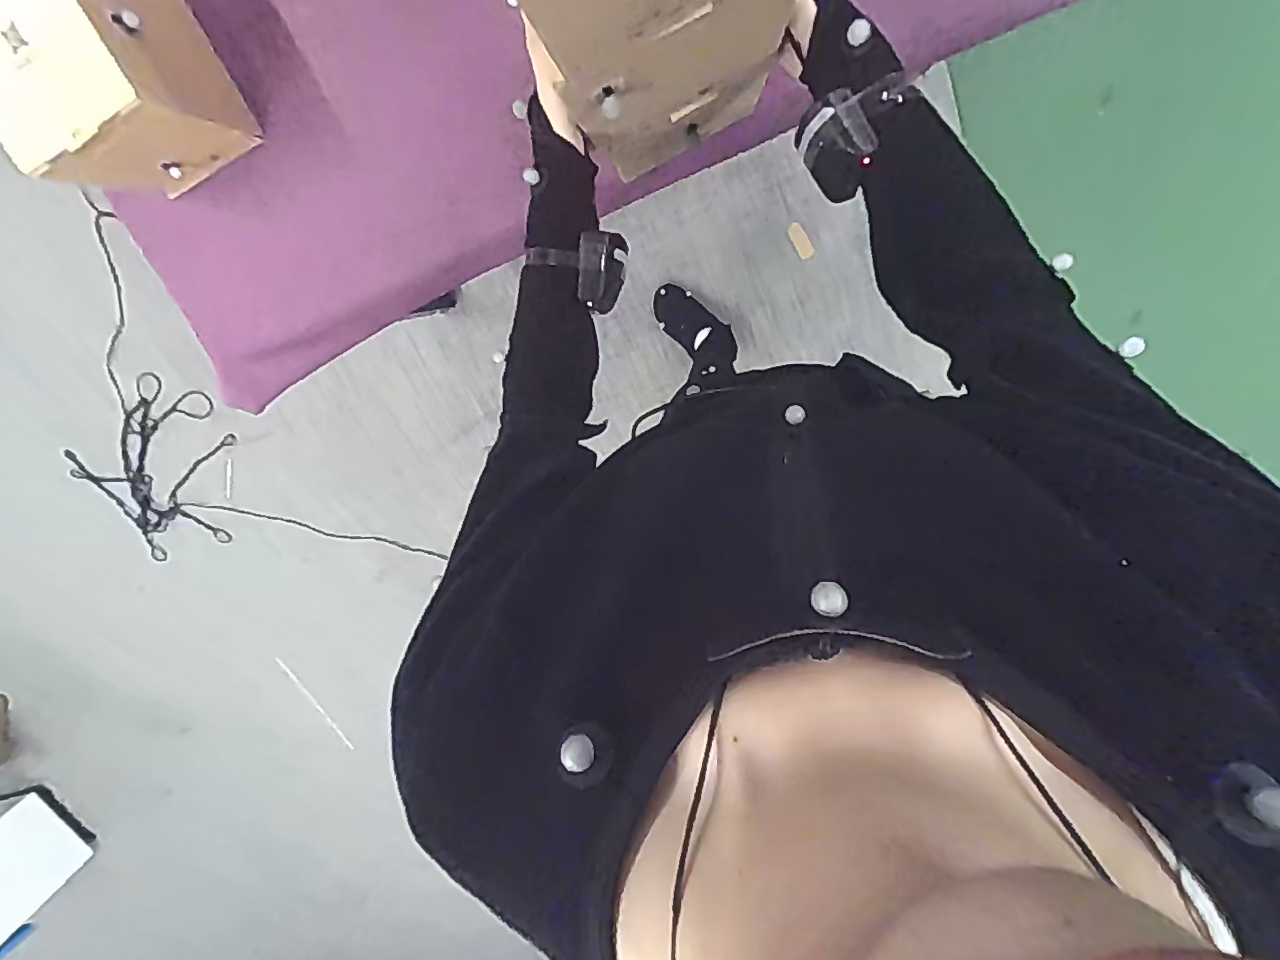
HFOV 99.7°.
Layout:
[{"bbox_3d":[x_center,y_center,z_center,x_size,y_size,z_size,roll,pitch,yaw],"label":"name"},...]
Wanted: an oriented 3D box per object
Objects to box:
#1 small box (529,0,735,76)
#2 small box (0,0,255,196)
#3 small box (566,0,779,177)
[{"bbox_3d":[-0.007,-0.315,0.211,0.168,0.176,0.179,-22,106,12],"label":"small box"},{"bbox_3d":[-0.582,-0.437,0.584,0.168,0.176,0.179,-21,108,12],"label":"small box"},{"bbox_3d":[0.016,-0.421,0.523,0.168,0.176,0.179,-24,106,11],"label":"small box"}]
